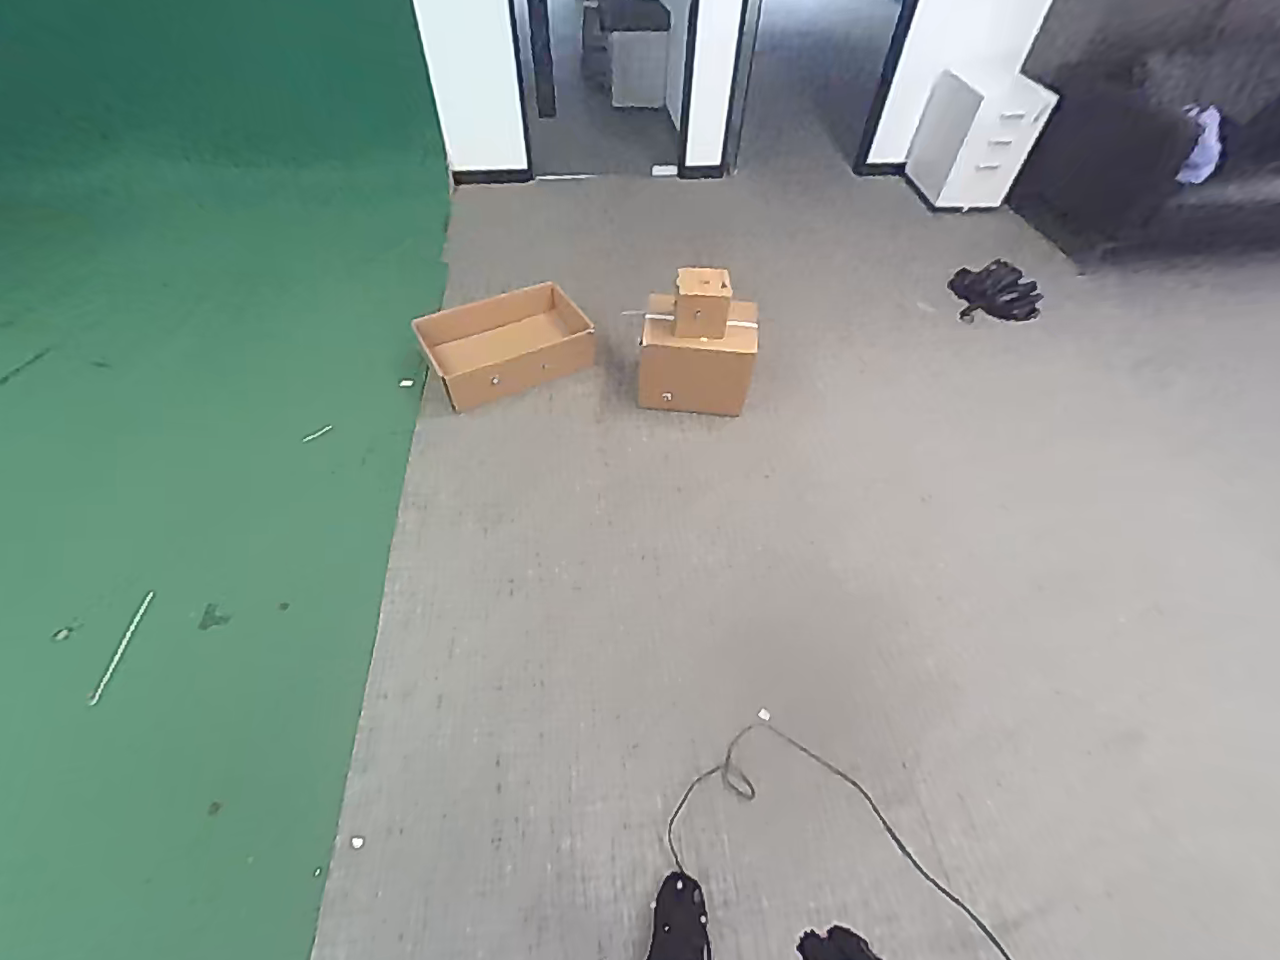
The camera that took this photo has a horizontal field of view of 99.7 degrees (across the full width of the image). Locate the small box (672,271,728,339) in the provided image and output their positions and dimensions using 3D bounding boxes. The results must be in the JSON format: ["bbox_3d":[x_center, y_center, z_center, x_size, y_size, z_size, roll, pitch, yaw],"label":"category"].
[{"bbox_3d":[0.202,-0.605,1.877,0.179,0.176,0.168,1,51,-1],"label":"small box"}]
